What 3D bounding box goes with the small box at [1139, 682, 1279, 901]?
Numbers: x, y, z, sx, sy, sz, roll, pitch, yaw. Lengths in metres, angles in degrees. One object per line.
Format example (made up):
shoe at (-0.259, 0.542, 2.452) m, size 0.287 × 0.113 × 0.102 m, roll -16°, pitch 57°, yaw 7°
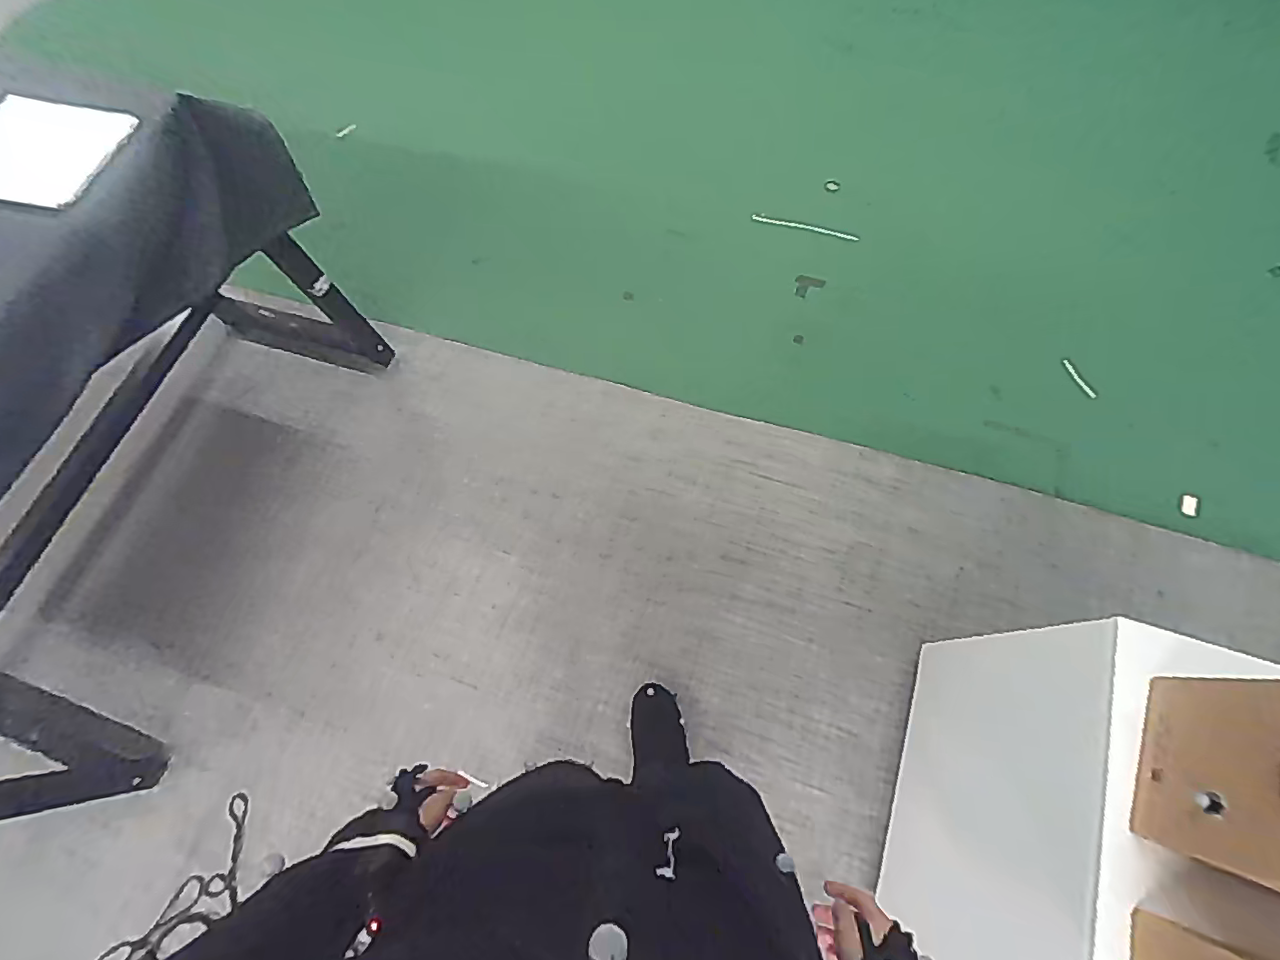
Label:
small box at (0.606, 0.295, 0.481) m, size 0.179 × 0.176 × 0.168 m, roll 21°, pitch 74°, yaw 10°
